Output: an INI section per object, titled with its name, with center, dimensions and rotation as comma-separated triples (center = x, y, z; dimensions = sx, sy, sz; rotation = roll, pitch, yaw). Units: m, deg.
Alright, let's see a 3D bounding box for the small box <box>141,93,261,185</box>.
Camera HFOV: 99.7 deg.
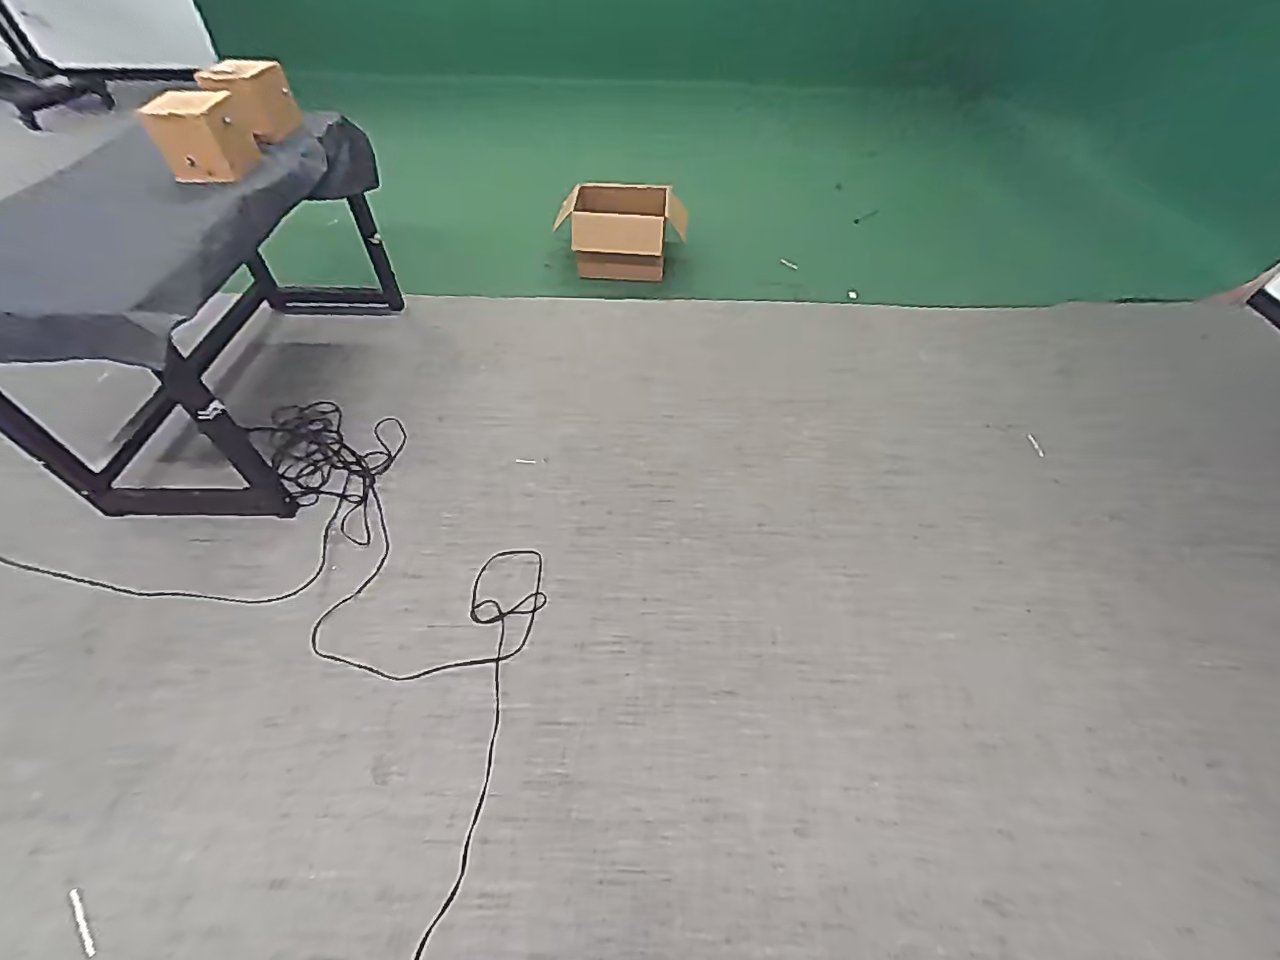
[small box]
center = -1.185, -0.934, 1.482
dimensions = 0.168, 0.176, 0.179
rotation = -1, 51, -2
